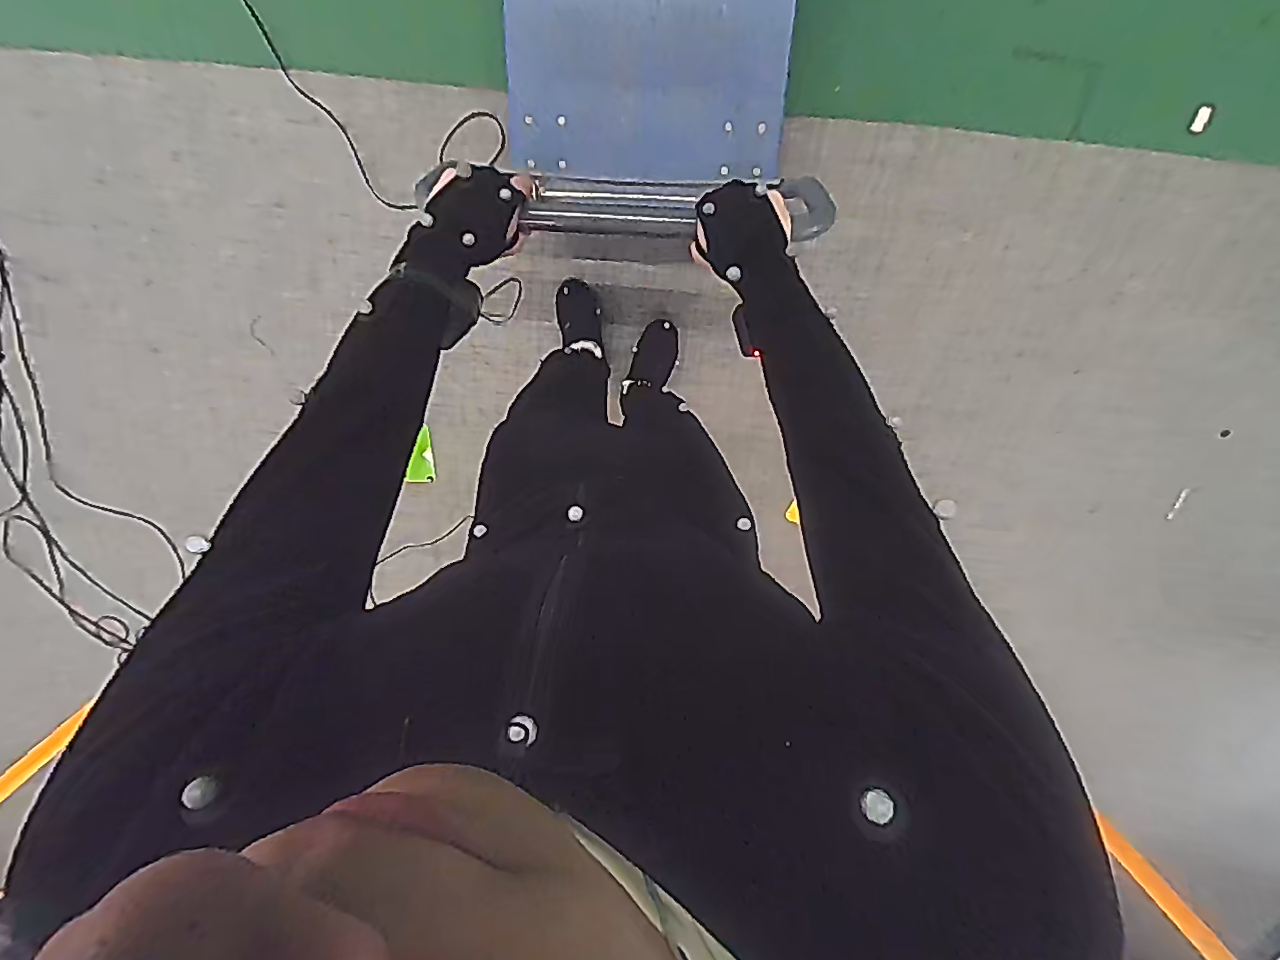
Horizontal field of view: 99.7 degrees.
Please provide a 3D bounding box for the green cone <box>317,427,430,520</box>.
[{"bbox_3d":[-0.763,0.006,1.499,0.202,0.368,0.200,3,114,3],"label":"green cone"}]
